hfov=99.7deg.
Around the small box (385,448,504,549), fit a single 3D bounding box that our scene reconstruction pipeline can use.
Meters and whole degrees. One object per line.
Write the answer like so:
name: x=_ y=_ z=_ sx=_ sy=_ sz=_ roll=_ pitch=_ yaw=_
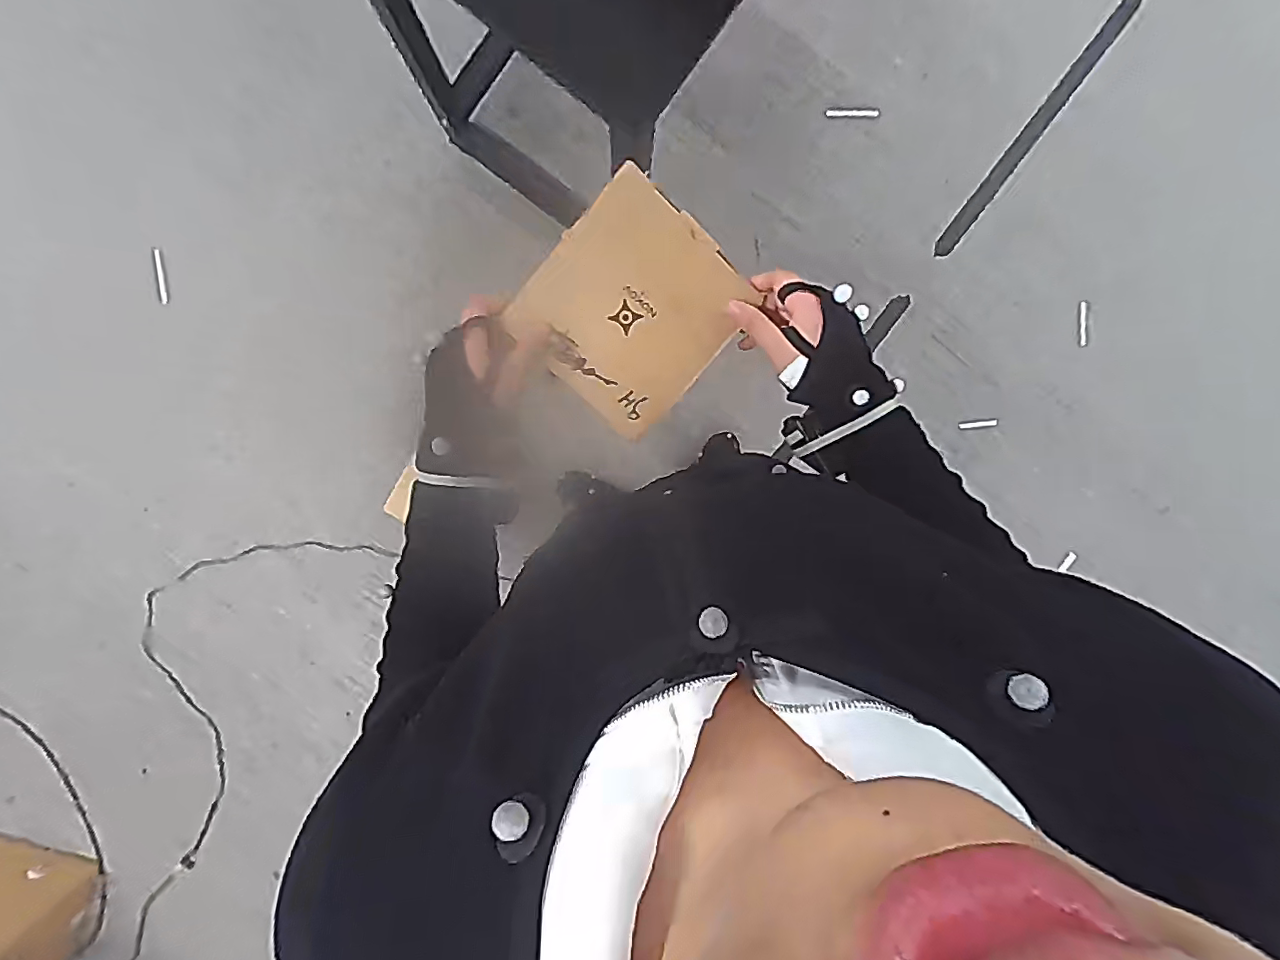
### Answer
small box: x=-0.437 y=0.034 z=1.240 sx=0.179 sy=0.176 sz=0.168 roll=29 pitch=93 yaw=-3
